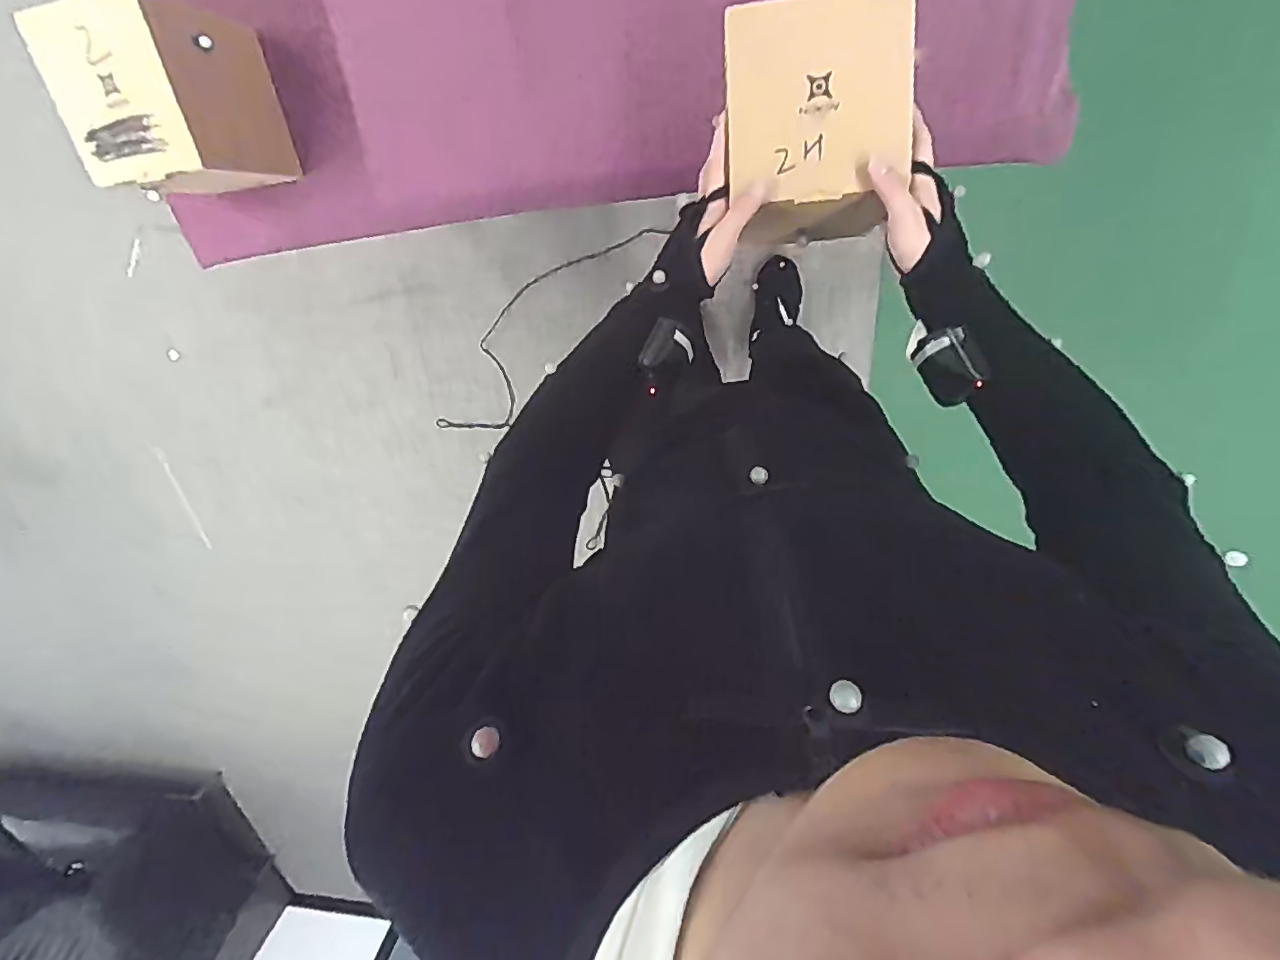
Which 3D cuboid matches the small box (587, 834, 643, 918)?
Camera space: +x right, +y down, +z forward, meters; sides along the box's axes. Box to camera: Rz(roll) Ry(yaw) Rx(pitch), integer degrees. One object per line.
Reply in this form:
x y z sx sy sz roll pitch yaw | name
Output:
-0.084 1.423 1.948 0.168 0.176 0.179 1 116 11 | small box

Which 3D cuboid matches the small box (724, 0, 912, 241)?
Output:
0.172 -0.372 0.570 0.168 0.176 0.179 -1 100 11 | small box
